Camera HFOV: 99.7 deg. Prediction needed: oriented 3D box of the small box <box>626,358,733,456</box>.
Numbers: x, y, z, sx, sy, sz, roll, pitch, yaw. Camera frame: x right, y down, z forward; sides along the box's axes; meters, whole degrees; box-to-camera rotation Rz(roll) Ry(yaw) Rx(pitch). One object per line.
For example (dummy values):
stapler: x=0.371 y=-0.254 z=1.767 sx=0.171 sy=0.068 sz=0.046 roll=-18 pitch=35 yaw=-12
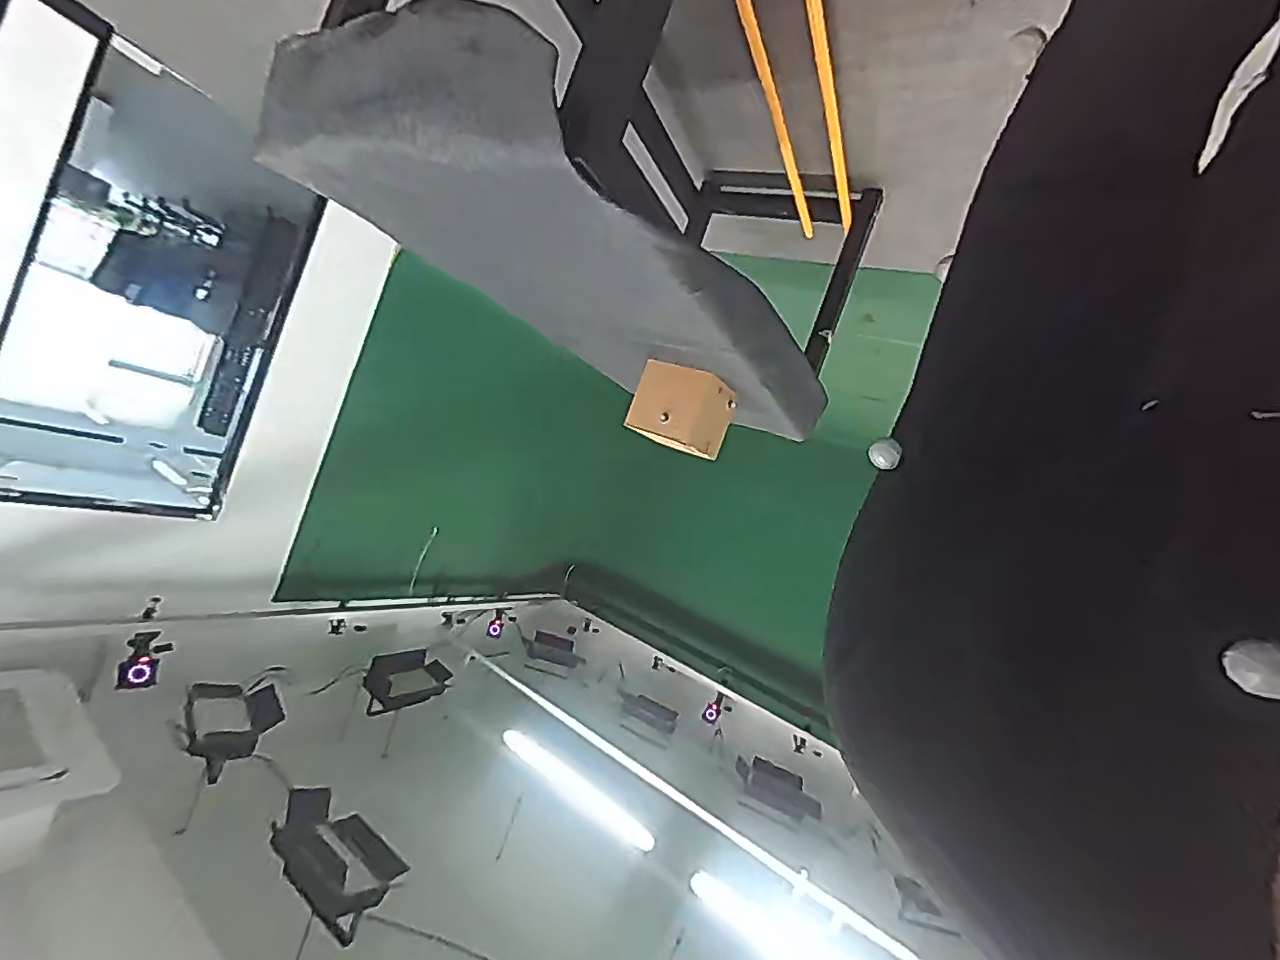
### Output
small box: x=0.101 y=-0.173 z=1.269 sx=0.179 sy=0.176 sz=0.168 roll=22 pitch=-179 yaw=32
